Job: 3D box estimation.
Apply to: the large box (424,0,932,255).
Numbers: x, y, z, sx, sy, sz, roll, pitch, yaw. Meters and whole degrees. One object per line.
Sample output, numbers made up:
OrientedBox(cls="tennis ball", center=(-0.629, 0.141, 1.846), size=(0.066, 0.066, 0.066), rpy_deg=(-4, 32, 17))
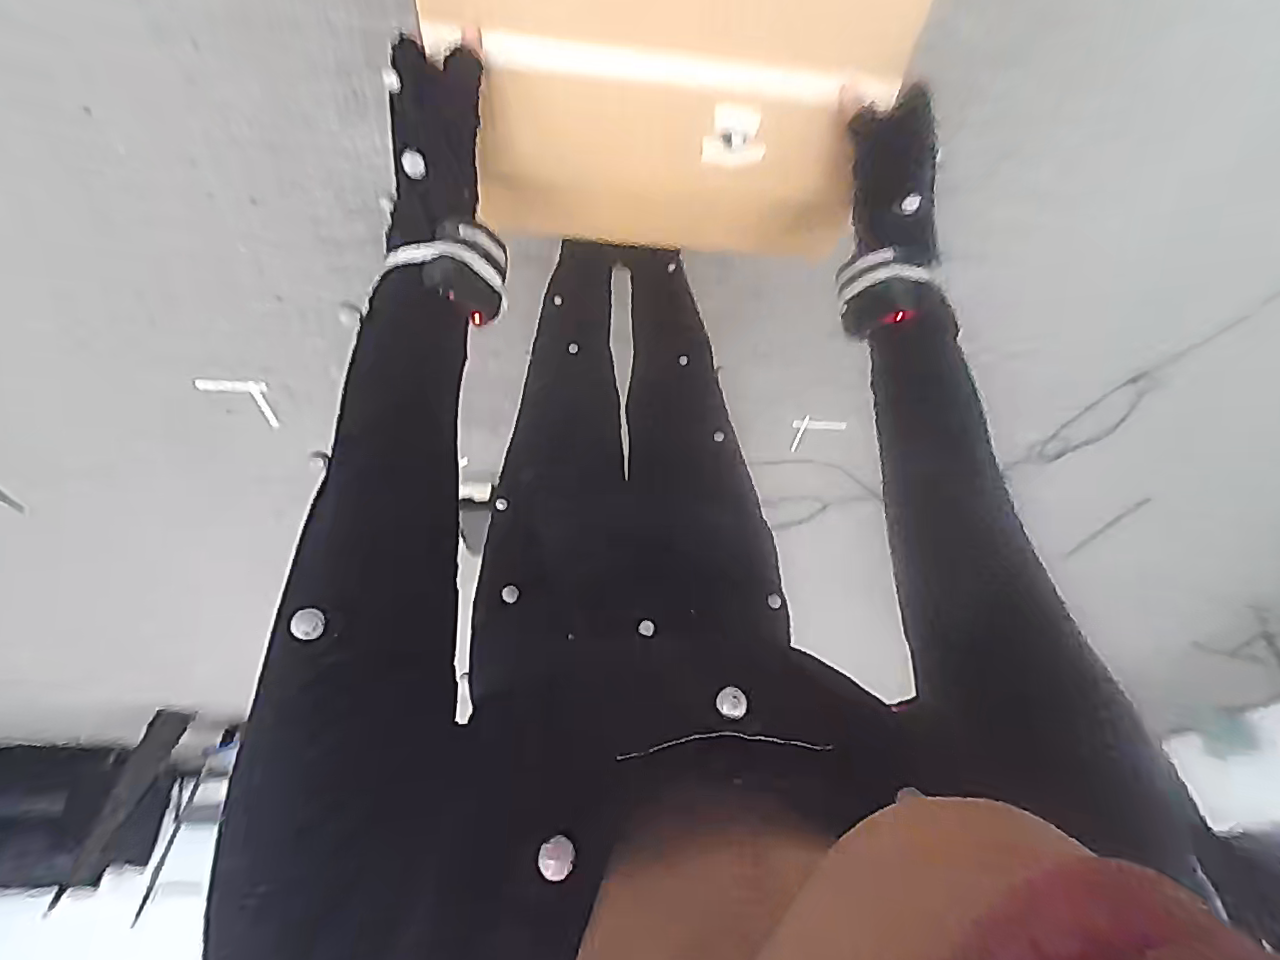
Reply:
OrientedBox(cls="large box", center=(0.021, -0.460, 0.550), size=(0.408, 0.320, 0.320), rpy_deg=(2, 140, -6))
